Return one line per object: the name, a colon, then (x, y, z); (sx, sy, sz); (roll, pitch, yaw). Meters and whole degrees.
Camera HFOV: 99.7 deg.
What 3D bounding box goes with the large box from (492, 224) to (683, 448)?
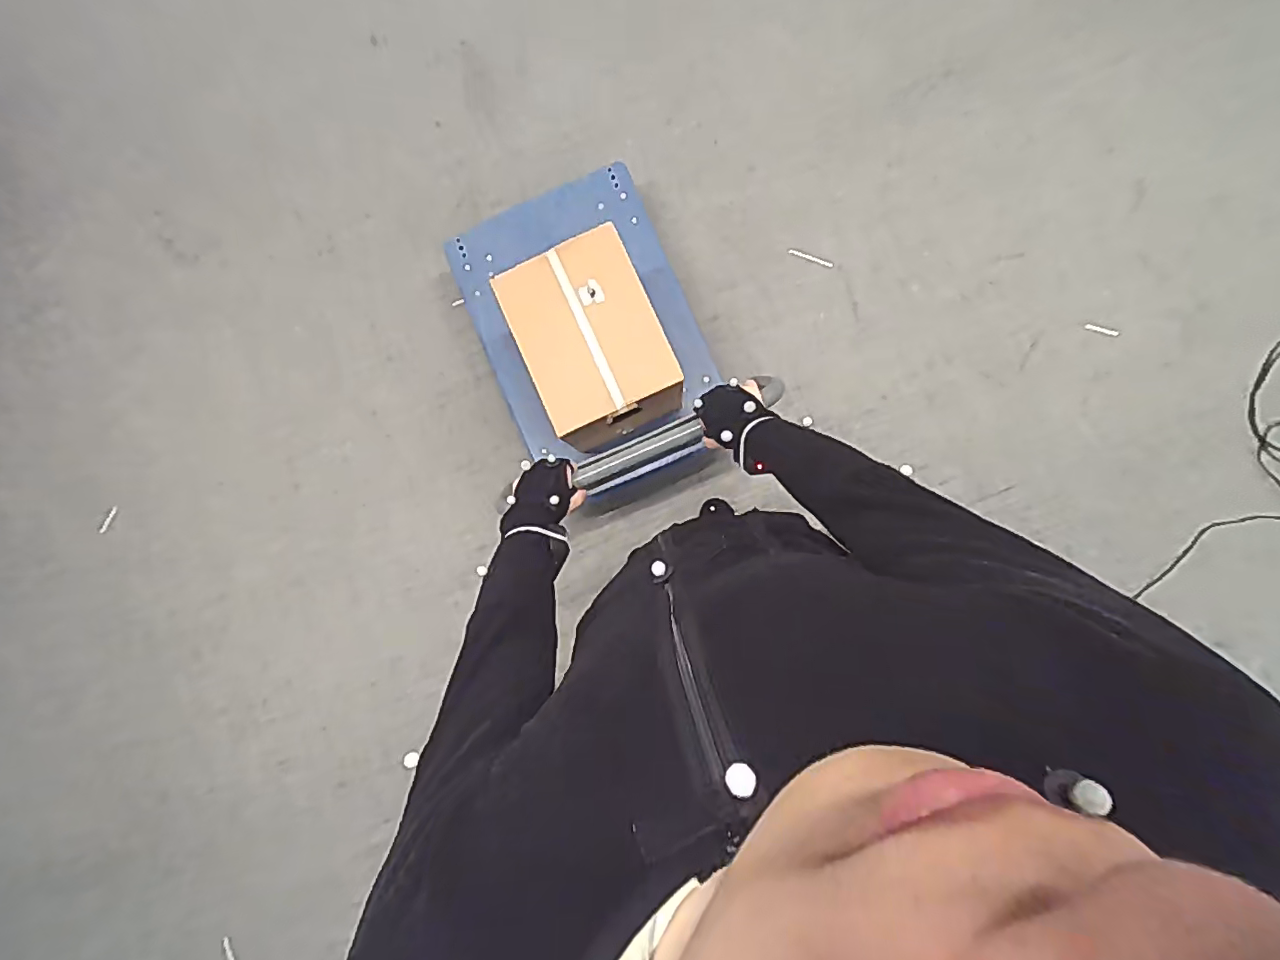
large box: (-0.110, -0.335, 1.370); (0.320, 0.320, 0.408); (-25, 85, 2)
